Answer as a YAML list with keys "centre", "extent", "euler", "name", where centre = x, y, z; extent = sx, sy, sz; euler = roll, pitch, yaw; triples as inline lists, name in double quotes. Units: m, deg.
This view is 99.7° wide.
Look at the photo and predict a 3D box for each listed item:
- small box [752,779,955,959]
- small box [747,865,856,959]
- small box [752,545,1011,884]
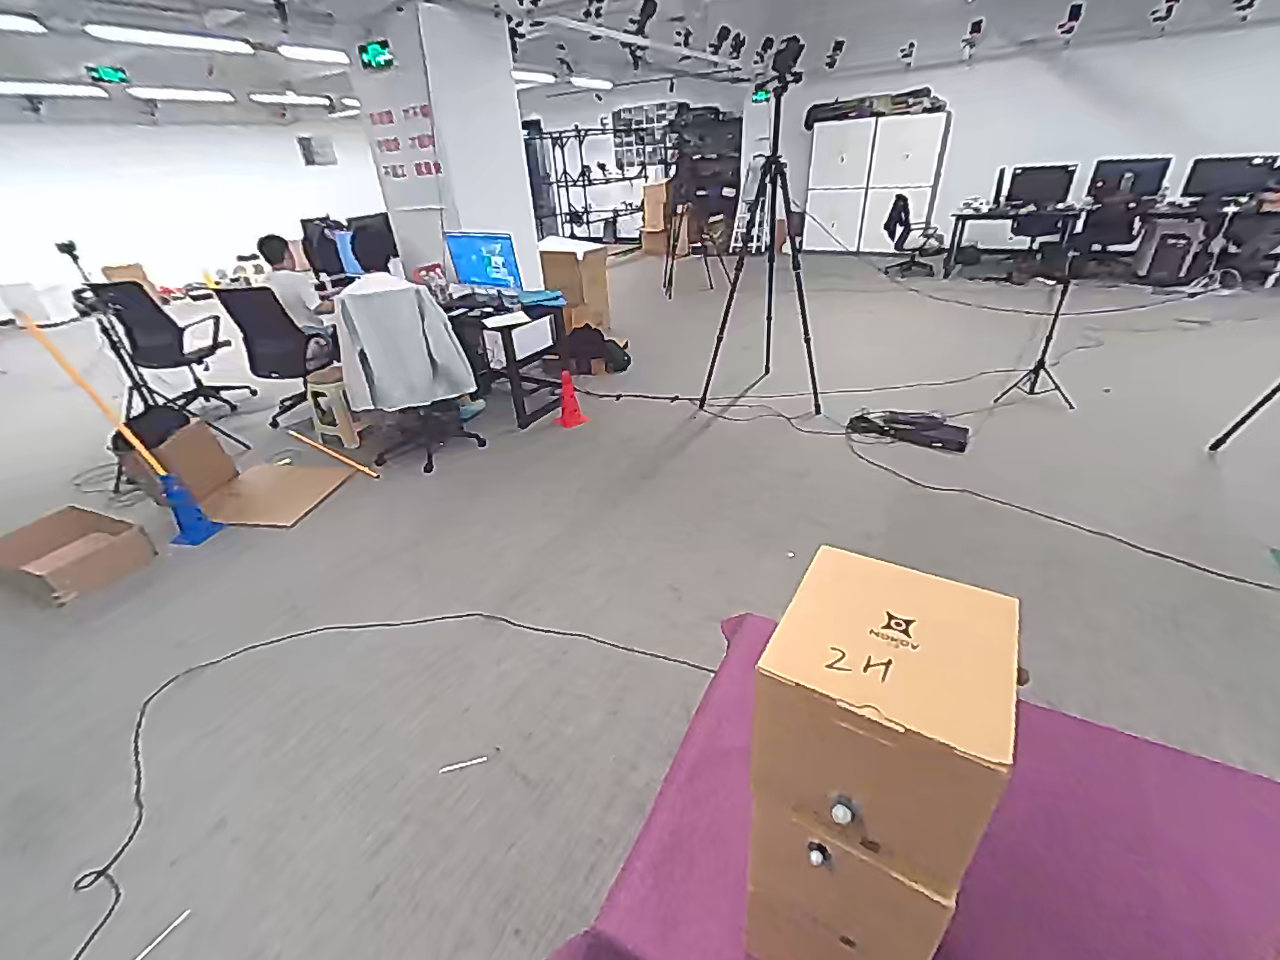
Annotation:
- centre: [0.218, 0.336, 0.549]
  extent: [0.168, 0.176, 0.179]
  euler: [14, 34, 31]
  name: "small box"
- centre: [0.230, 0.478, 0.631]
  extent: [0.168, 0.176, 0.179]
  euler: [15, 36, 31]
  name: "small box"
- centre: [0.203, 0.190, 0.473]
  extent: [0.168, 0.176, 0.179]
  euler: [14, 35, 30]
  name: "small box"
